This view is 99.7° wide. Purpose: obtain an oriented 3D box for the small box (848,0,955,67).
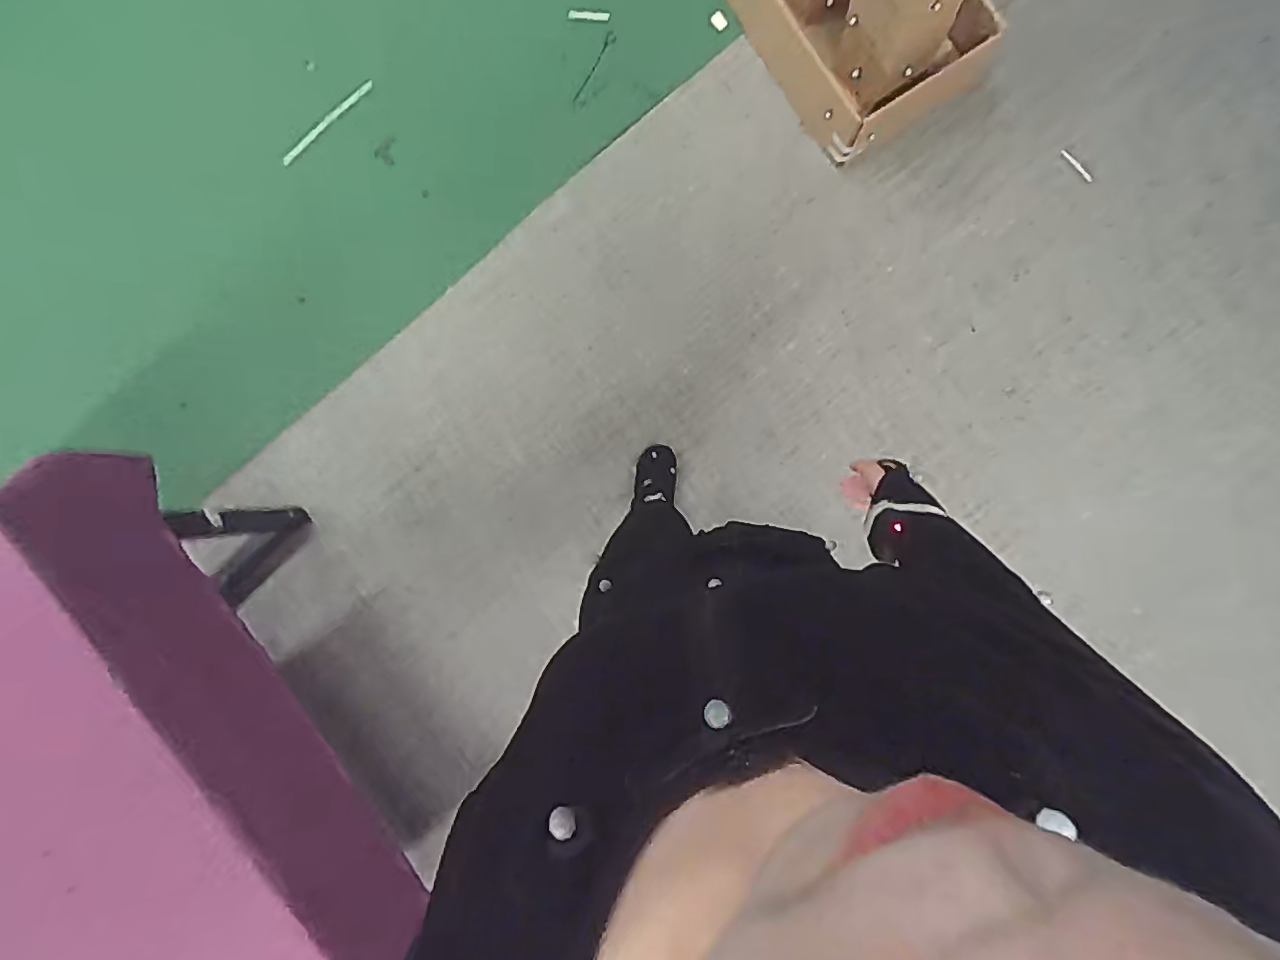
[{"bbox_3d":[0.582,-1.071,1.186,0.179,0.176,0.168,-33,85,4],"label":"small box"}]
